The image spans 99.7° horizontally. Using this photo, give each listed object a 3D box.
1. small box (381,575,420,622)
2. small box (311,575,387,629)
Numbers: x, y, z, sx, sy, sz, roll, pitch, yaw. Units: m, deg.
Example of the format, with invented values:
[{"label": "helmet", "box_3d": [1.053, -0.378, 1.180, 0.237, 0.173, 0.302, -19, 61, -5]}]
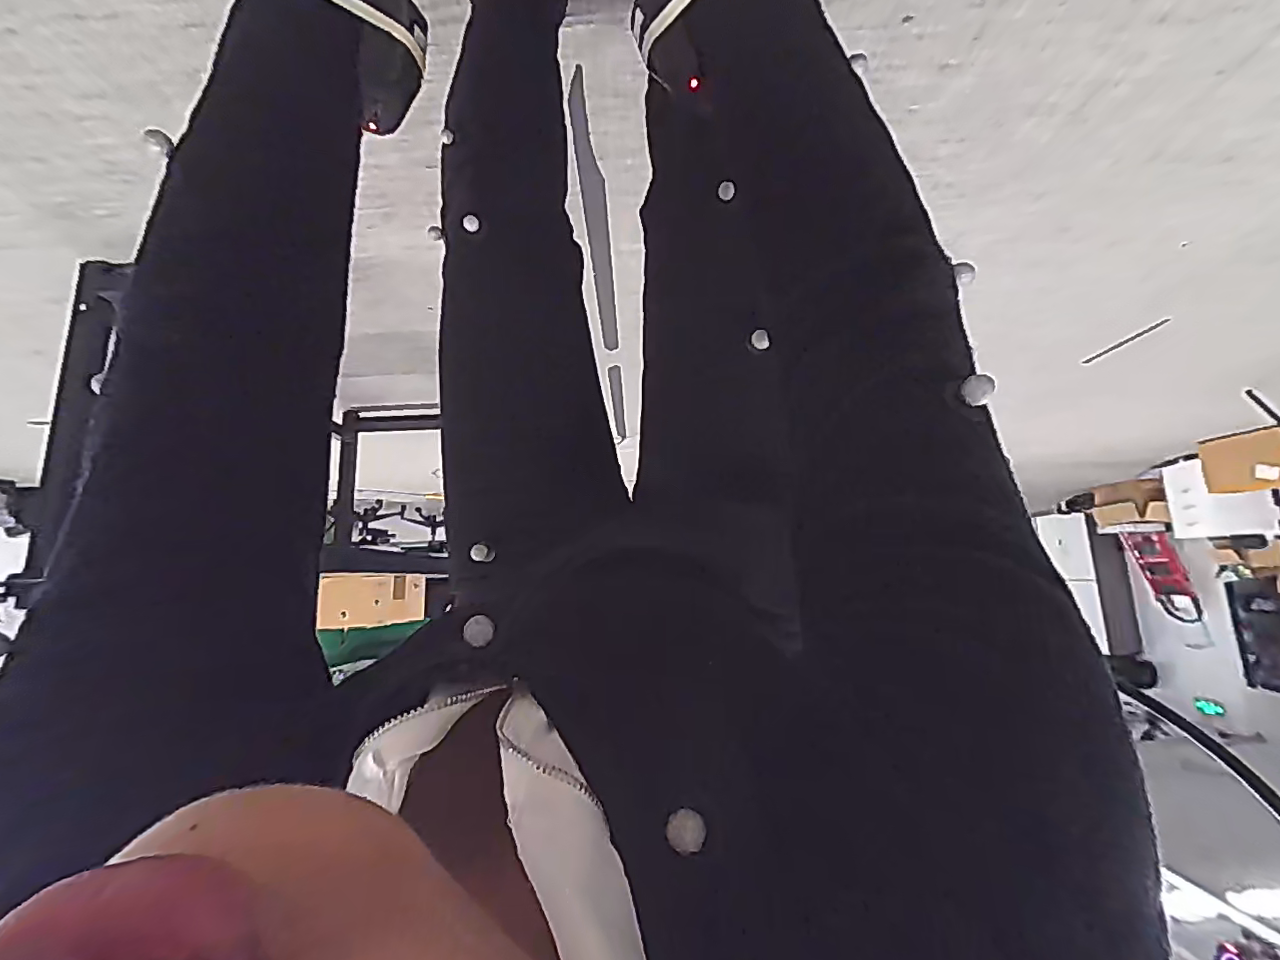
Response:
[{"label": "small box", "box_3d": [-0.965, 0.456, 2.079, 0.168, 0.176, 0.179, -2, 169, 2]}, {"label": "small box", "box_3d": [-0.974, 0.406, 1.822, 0.179, 0.176, 0.168, -1, 168, 0]}]
